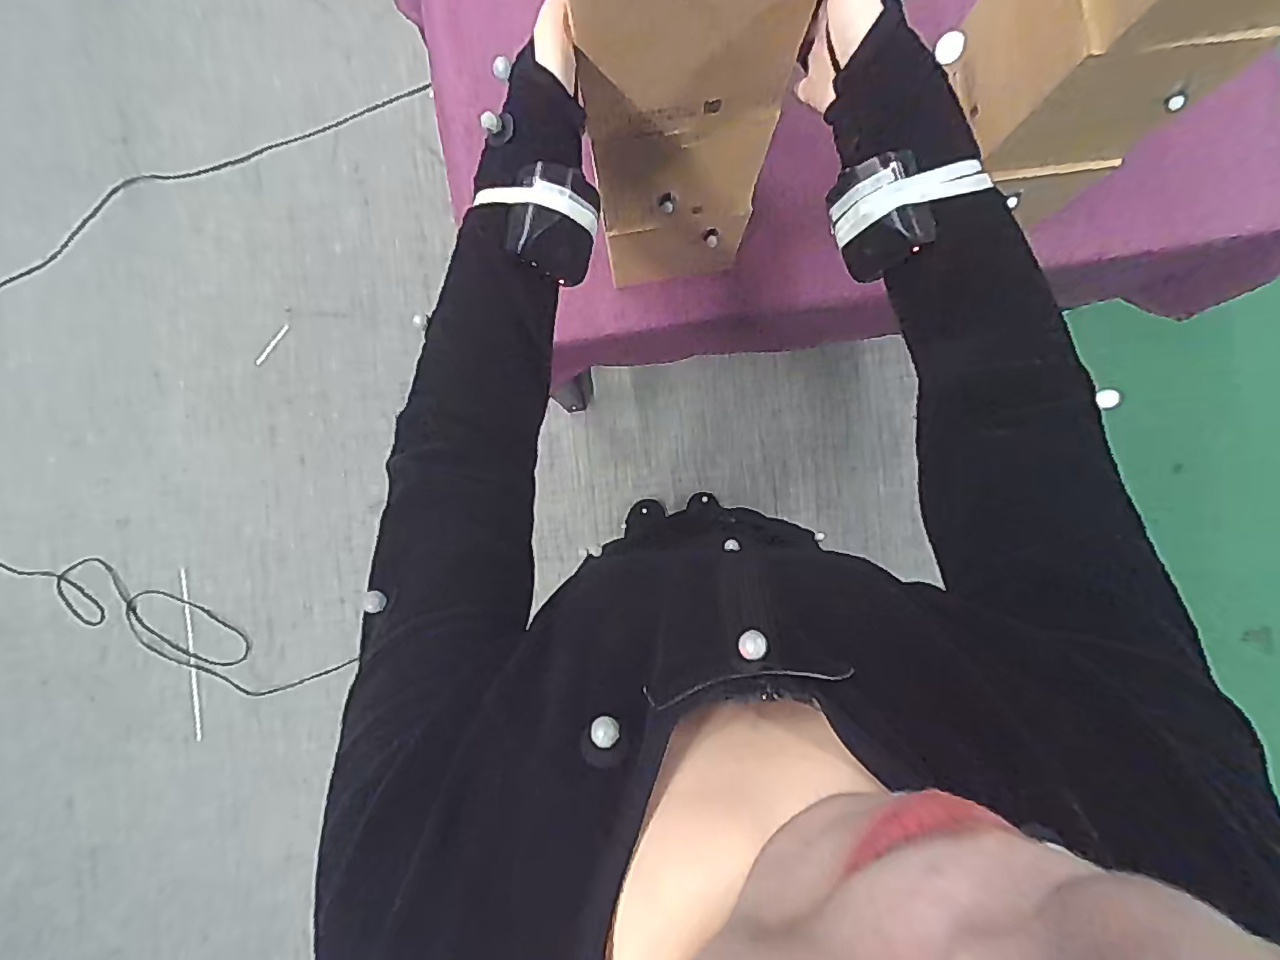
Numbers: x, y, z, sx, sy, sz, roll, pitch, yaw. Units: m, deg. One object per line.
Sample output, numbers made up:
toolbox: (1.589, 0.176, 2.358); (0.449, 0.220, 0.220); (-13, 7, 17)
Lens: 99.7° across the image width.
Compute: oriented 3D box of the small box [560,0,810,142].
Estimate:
small box: (0.020, -0.387, 0.387); (0.168, 0.176, 0.179); (-8, 88, 1)

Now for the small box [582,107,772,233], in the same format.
small box: (0.023, -0.385, 0.551); (0.168, 0.176, 0.179); (-9, 89, 1)

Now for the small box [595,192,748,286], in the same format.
small box: (0.031, -0.376, 0.714); (0.179, 0.176, 0.168); (-9, 88, 1)

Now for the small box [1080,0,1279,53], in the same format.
small box: (0.454, -0.450, 0.378); (0.179, 0.176, 0.168); (-8, 88, 1)

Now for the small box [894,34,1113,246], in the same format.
small box: (0.451, -0.425, 0.705); (0.179, 0.176, 0.168); (-6, 89, 1)
